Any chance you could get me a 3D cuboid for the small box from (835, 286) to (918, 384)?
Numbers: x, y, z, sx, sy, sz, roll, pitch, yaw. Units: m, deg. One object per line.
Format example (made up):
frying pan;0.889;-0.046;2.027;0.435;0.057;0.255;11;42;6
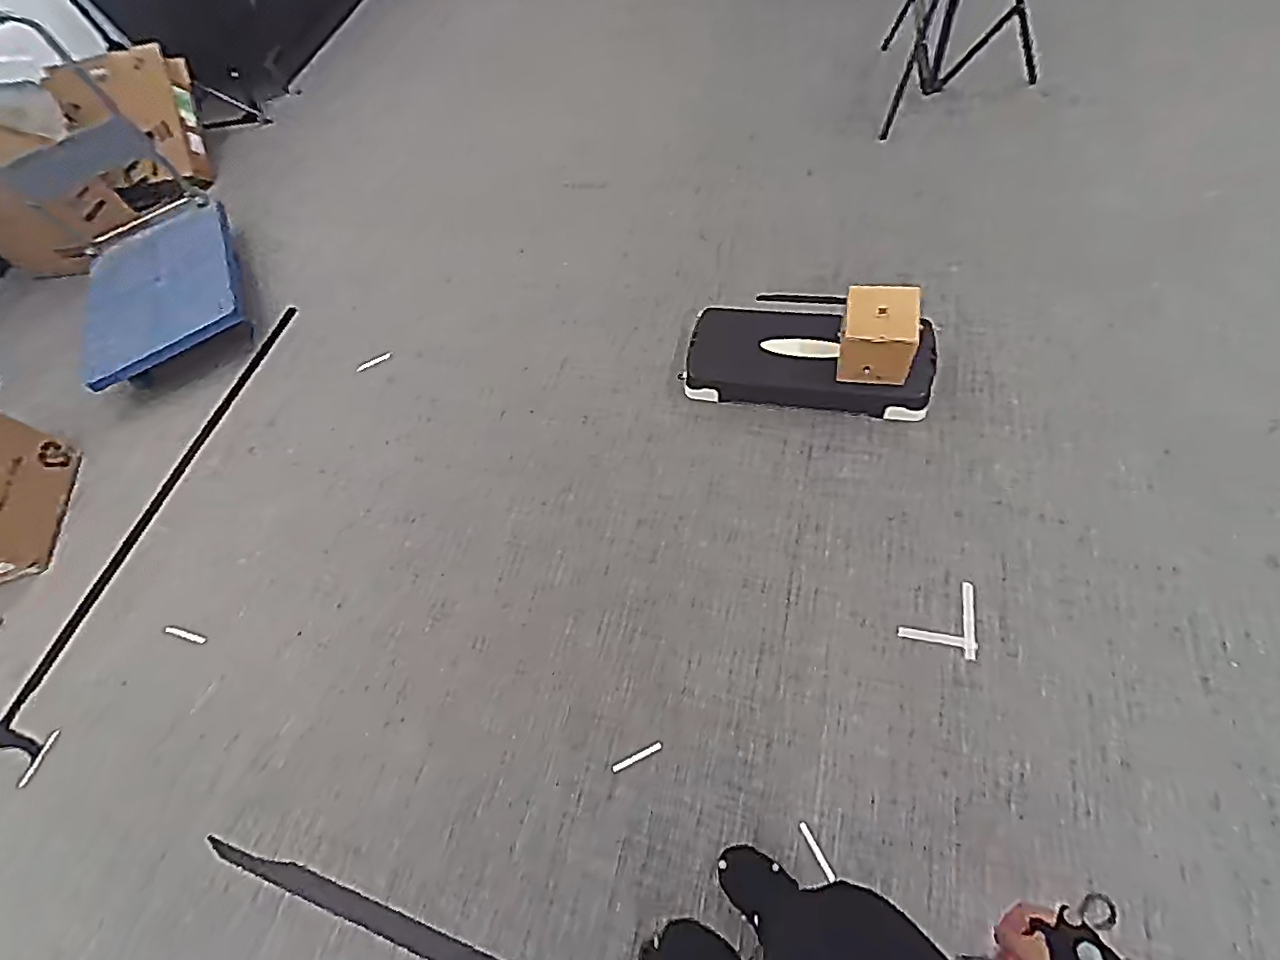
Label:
small box;0.601;-0.370;1.385;0.168;0.176;0.179;7;65;15
